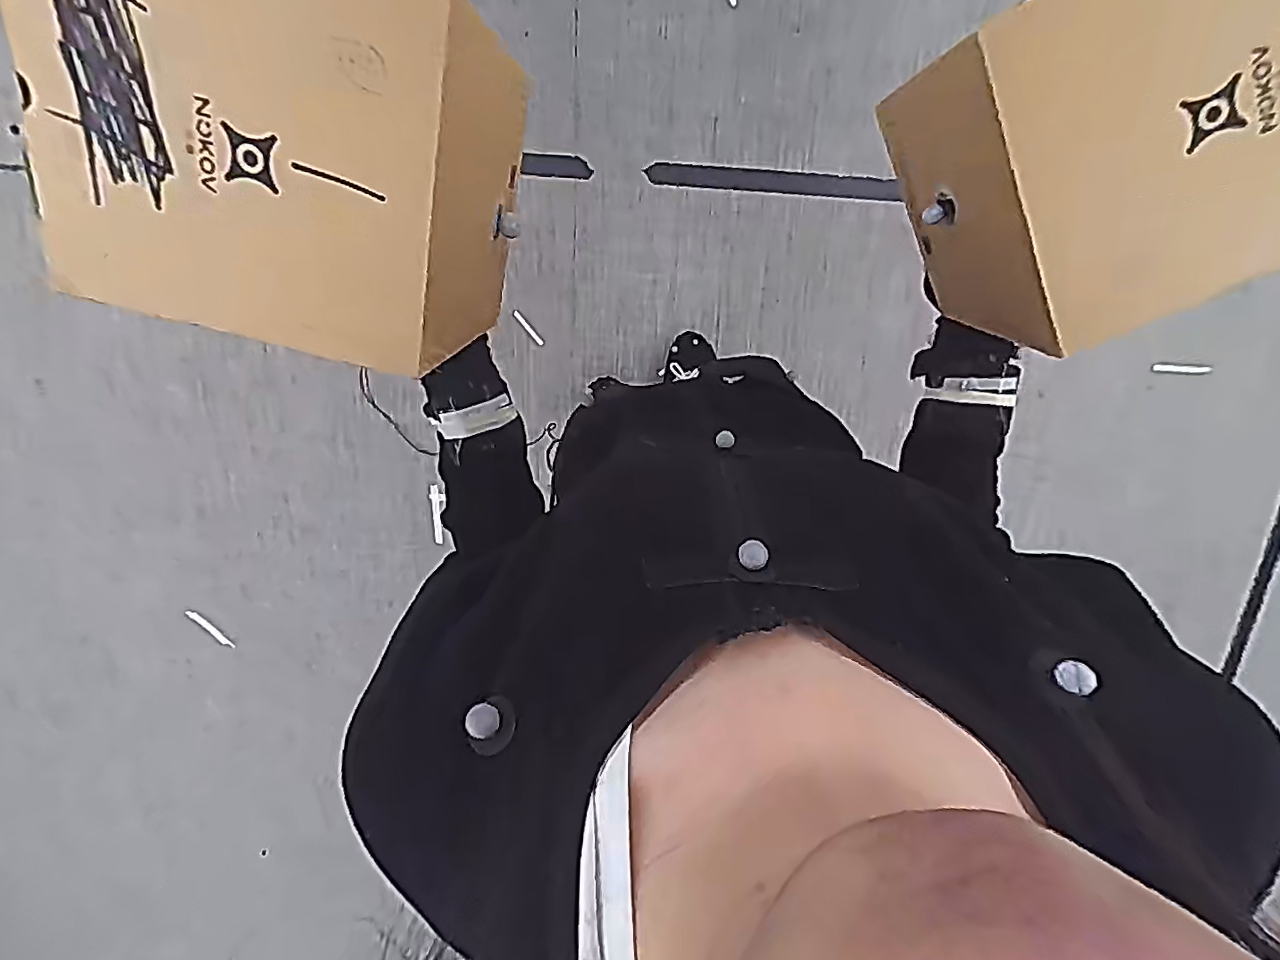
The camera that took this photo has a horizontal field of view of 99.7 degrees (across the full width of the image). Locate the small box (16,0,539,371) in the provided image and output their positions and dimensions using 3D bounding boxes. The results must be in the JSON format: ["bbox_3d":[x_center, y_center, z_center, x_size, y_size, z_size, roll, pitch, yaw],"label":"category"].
[{"bbox_3d":[-0.168,-0.179,0.305,0.179,0.176,0.168,13,115,-7],"label":"small box"}]

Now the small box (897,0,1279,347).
[{"bbox_3d":[0.273,-0.202,0.314,0.179,0.176,0.168,-25,110,16],"label":"small box"}]

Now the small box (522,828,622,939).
[{"bbox_3d":[-0.121,0.767,0.976,0.168,0.176,0.179,5,105,-2],"label":"small box"}]

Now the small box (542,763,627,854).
[{"bbox_3d":[-0.121,0.729,1.134,0.168,0.176,0.179,7,104,-2],"label":"small box"}]

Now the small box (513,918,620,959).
[{"bbox_3d":[-0.119,0.813,0.820,0.168,0.176,0.179,5,106,-1],"label":"small box"}]
